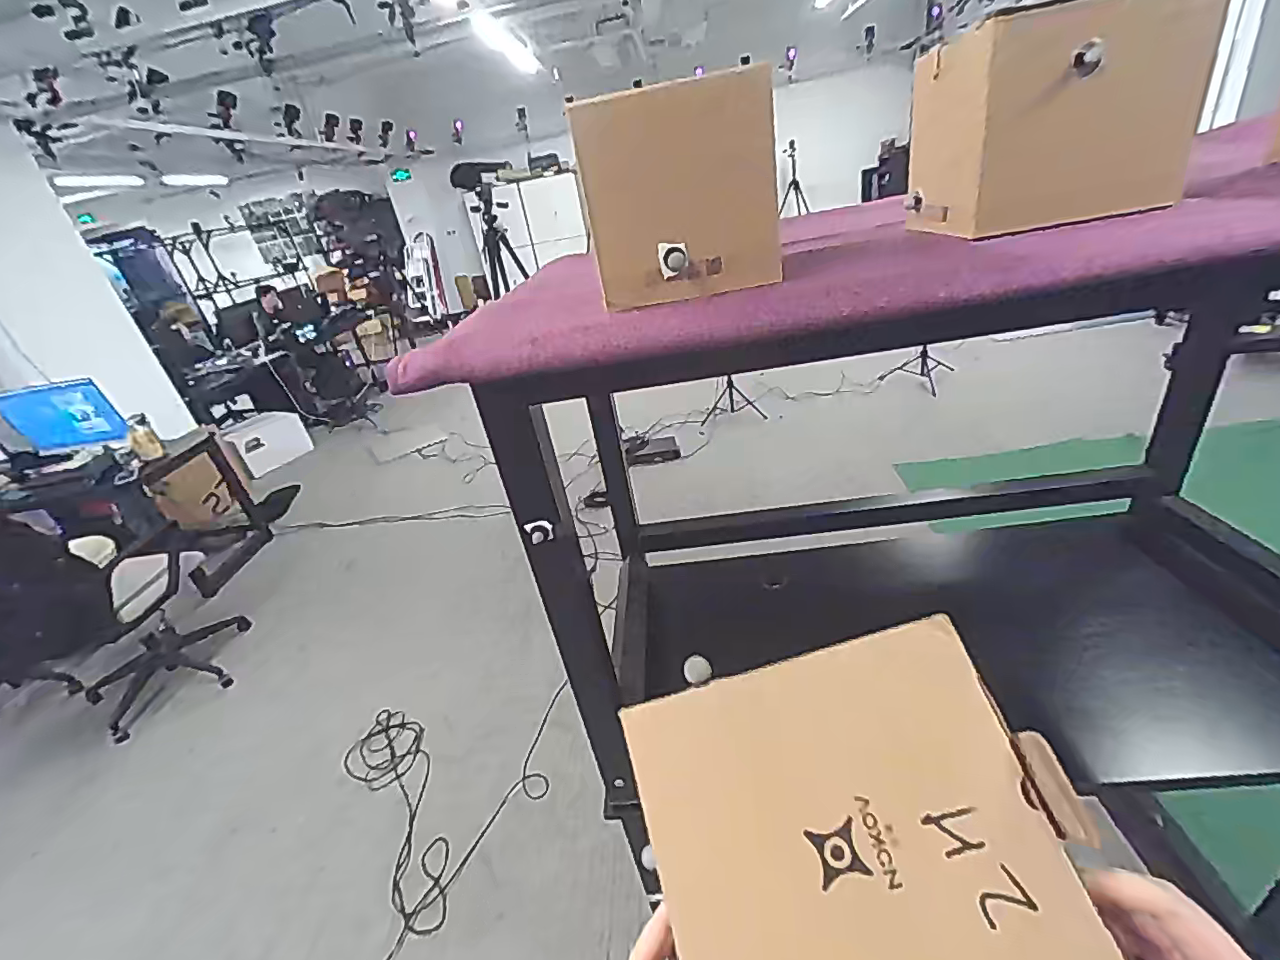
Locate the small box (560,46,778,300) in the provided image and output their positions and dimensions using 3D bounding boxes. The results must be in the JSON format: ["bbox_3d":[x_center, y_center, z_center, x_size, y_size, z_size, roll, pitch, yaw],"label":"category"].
[{"bbox_3d":[0.031,-0.284,0.524,0.168,0.176,0.179,-10,30,4],"label":"small box"}]

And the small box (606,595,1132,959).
[{"bbox_3d":[0.094,0.182,0.301,0.179,0.176,0.168,-16,66,-2],"label":"small box"}]

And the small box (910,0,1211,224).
[{"bbox_3d":[0.375,-0.350,0.514,0.179,0.176,0.168,-7,28,7],"label":"small box"}]
